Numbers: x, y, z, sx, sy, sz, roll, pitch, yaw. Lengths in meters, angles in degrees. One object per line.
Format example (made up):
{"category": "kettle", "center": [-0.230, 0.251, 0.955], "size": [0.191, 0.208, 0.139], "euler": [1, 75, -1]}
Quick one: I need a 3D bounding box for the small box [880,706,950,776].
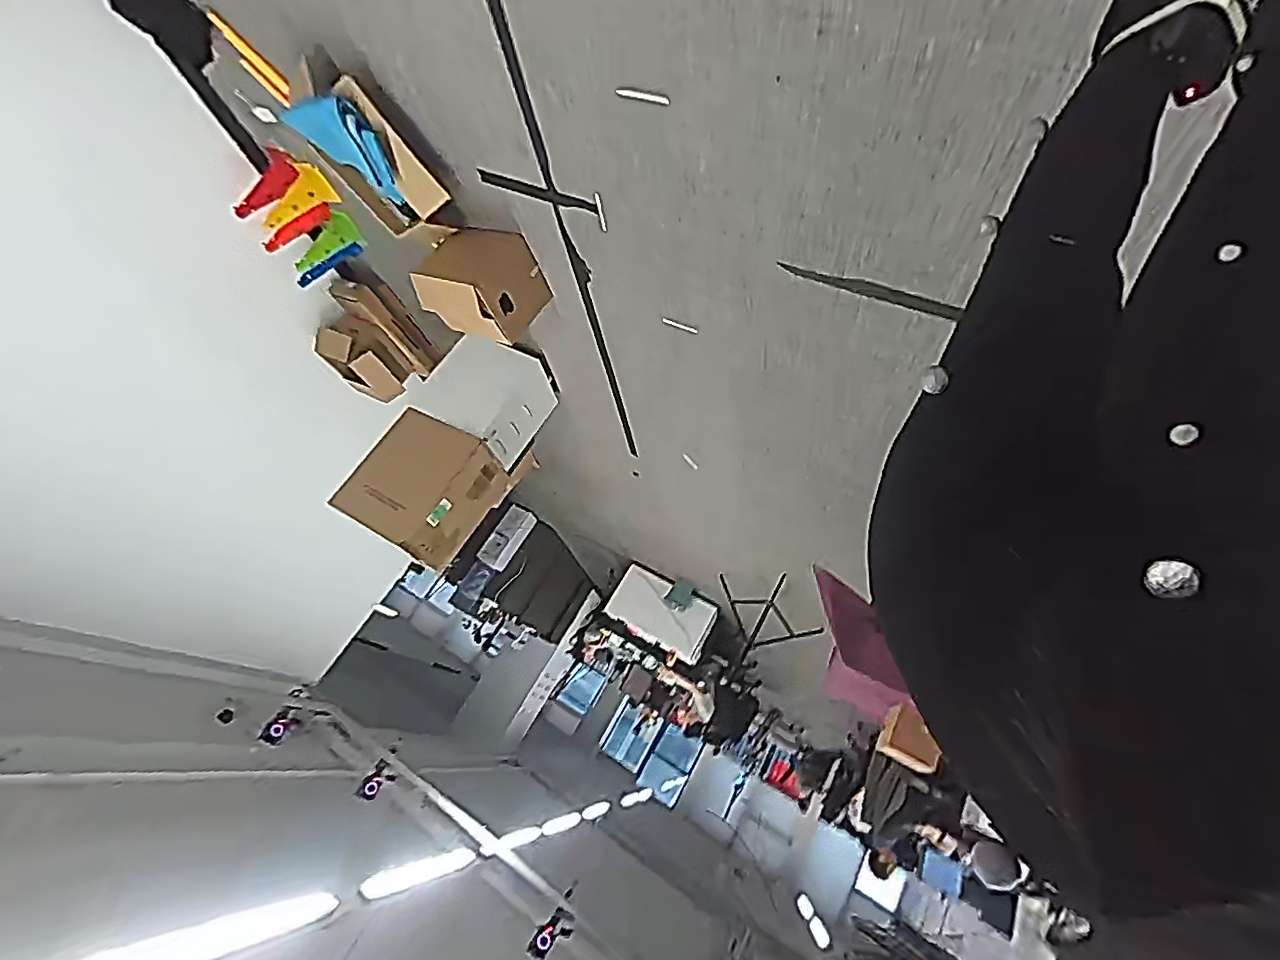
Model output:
{"category": "small box", "center": [1.008, 0.956, 1.984], "size": [0.168, 0.176, 0.179], "euler": [24, 157, 21]}
